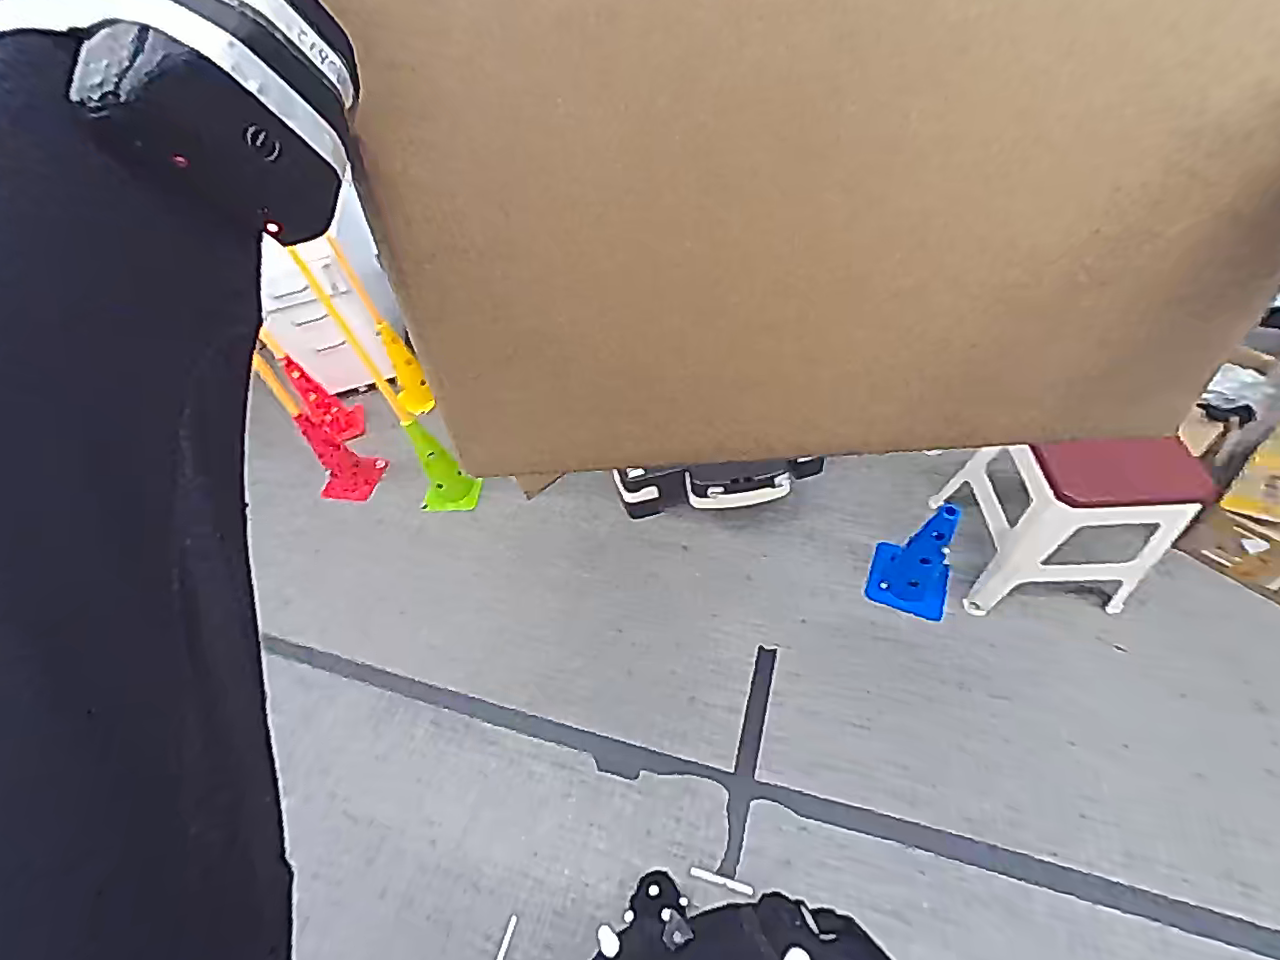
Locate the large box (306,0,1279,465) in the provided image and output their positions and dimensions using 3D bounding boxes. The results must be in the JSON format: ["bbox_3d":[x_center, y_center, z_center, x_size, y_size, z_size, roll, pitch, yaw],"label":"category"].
[{"bbox_3d":[0.077,-0.229,0.330,0.408,0.320,0.320,-3,41,0],"label":"large box"}]
